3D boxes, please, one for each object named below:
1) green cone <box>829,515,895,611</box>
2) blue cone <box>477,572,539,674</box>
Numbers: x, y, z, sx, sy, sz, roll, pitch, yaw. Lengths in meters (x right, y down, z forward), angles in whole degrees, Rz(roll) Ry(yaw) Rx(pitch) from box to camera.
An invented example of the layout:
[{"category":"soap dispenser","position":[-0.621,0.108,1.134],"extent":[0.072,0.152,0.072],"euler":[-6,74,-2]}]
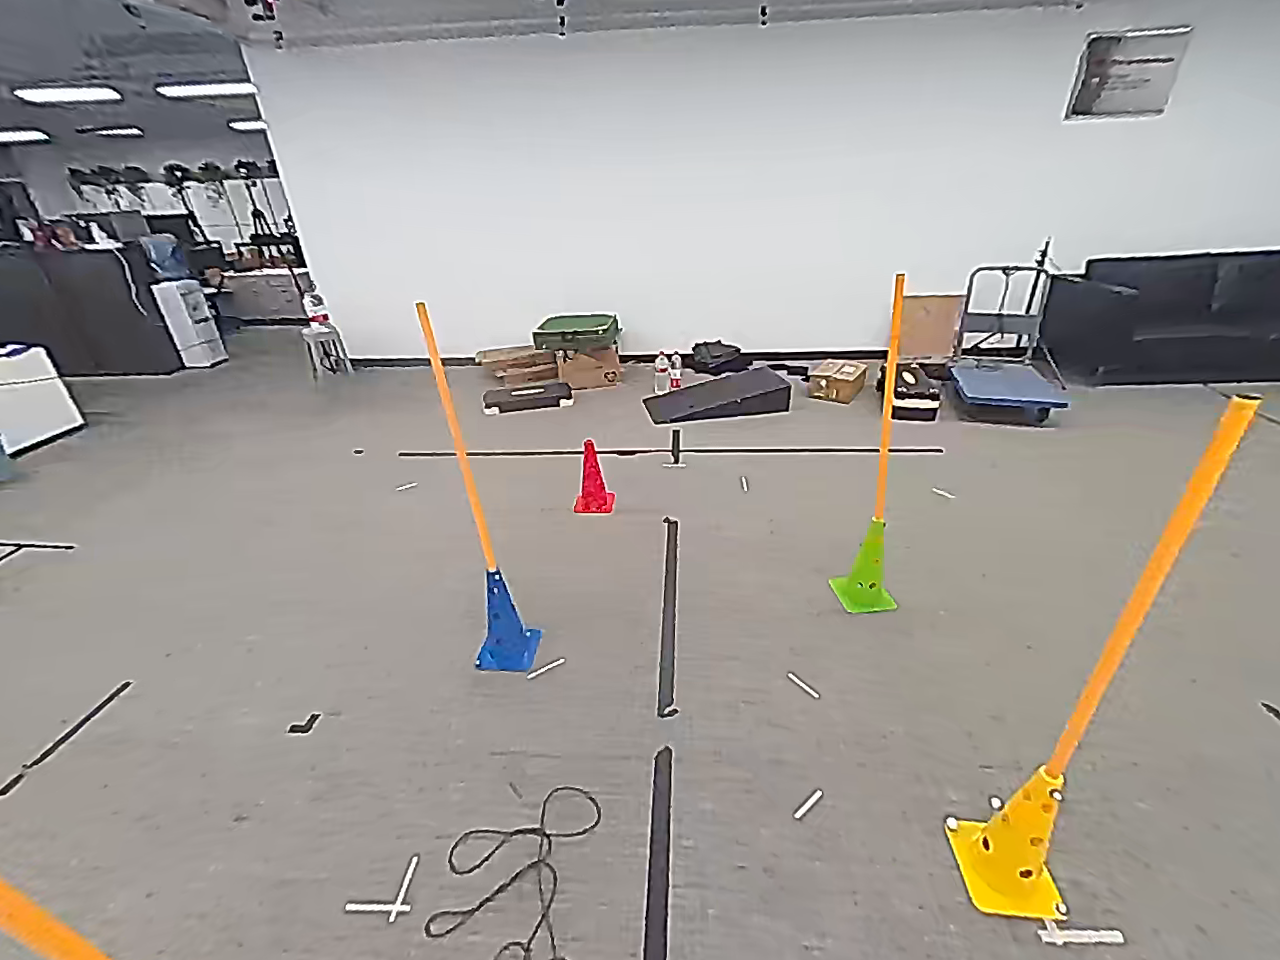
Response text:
[{"category":"green cone","position":[0.866,0.291,2.048],"extent":[0.200,0.368,0.202],"euler":[-5,30,-5]},{"category":"blue cone","position":[-0.473,0.467,1.850],"extent":[0.193,0.380,0.192],"euler":[1,29,7]}]
